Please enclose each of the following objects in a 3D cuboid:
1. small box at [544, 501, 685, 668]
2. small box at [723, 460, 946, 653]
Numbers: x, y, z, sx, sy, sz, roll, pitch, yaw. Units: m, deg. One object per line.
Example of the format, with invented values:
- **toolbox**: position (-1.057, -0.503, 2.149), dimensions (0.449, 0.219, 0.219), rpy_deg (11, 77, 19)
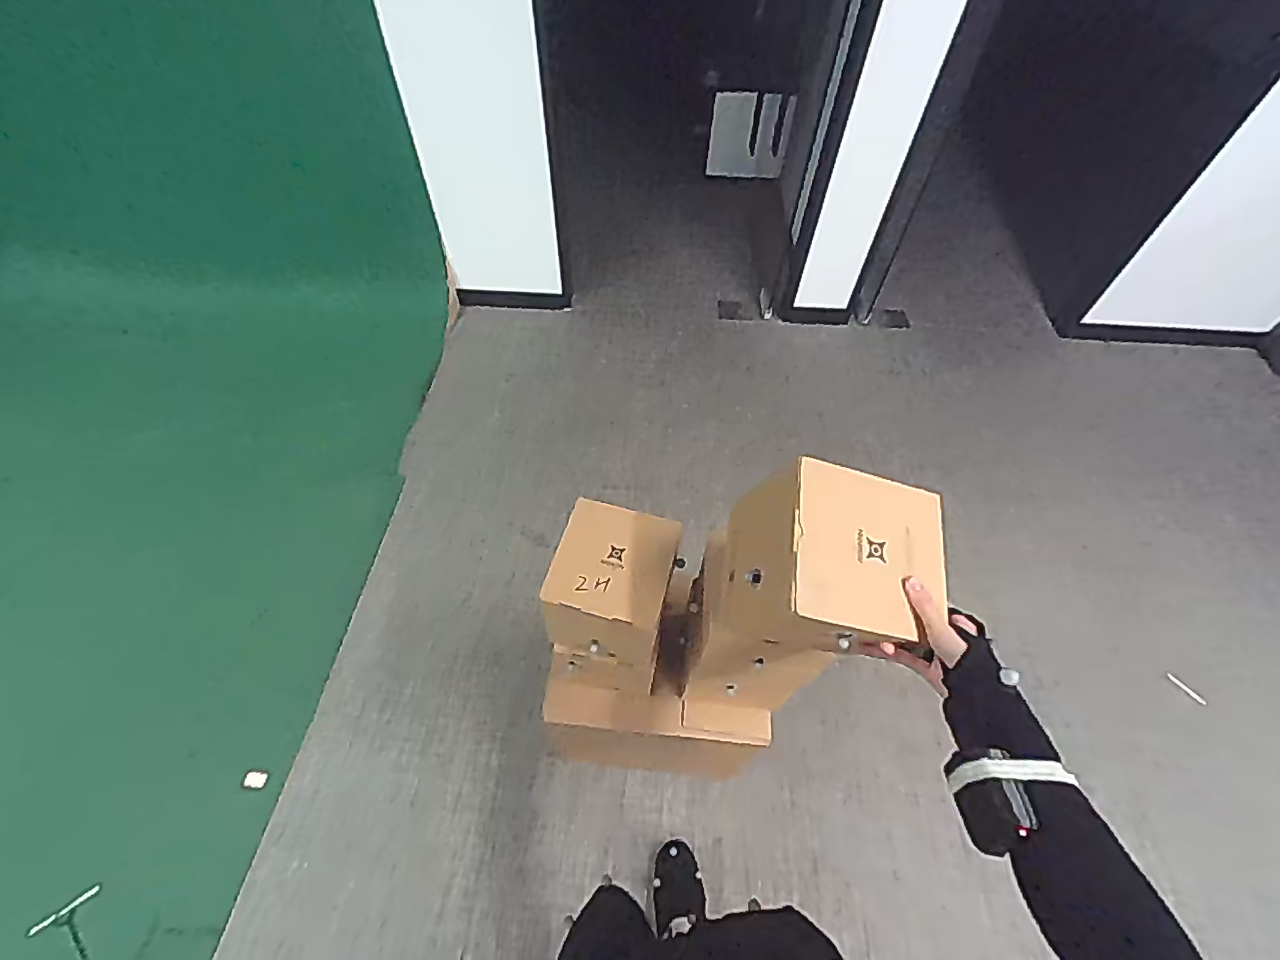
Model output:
- **small box**: position (-0.036, 0.164, 0.835), dimensions (0.168, 0.176, 0.179), rpy_deg (13, 55, 7)
- **small box**: position (0.209, 0.099, 0.618), dimensions (0.179, 0.176, 0.168), rpy_deg (15, 67, -11)
